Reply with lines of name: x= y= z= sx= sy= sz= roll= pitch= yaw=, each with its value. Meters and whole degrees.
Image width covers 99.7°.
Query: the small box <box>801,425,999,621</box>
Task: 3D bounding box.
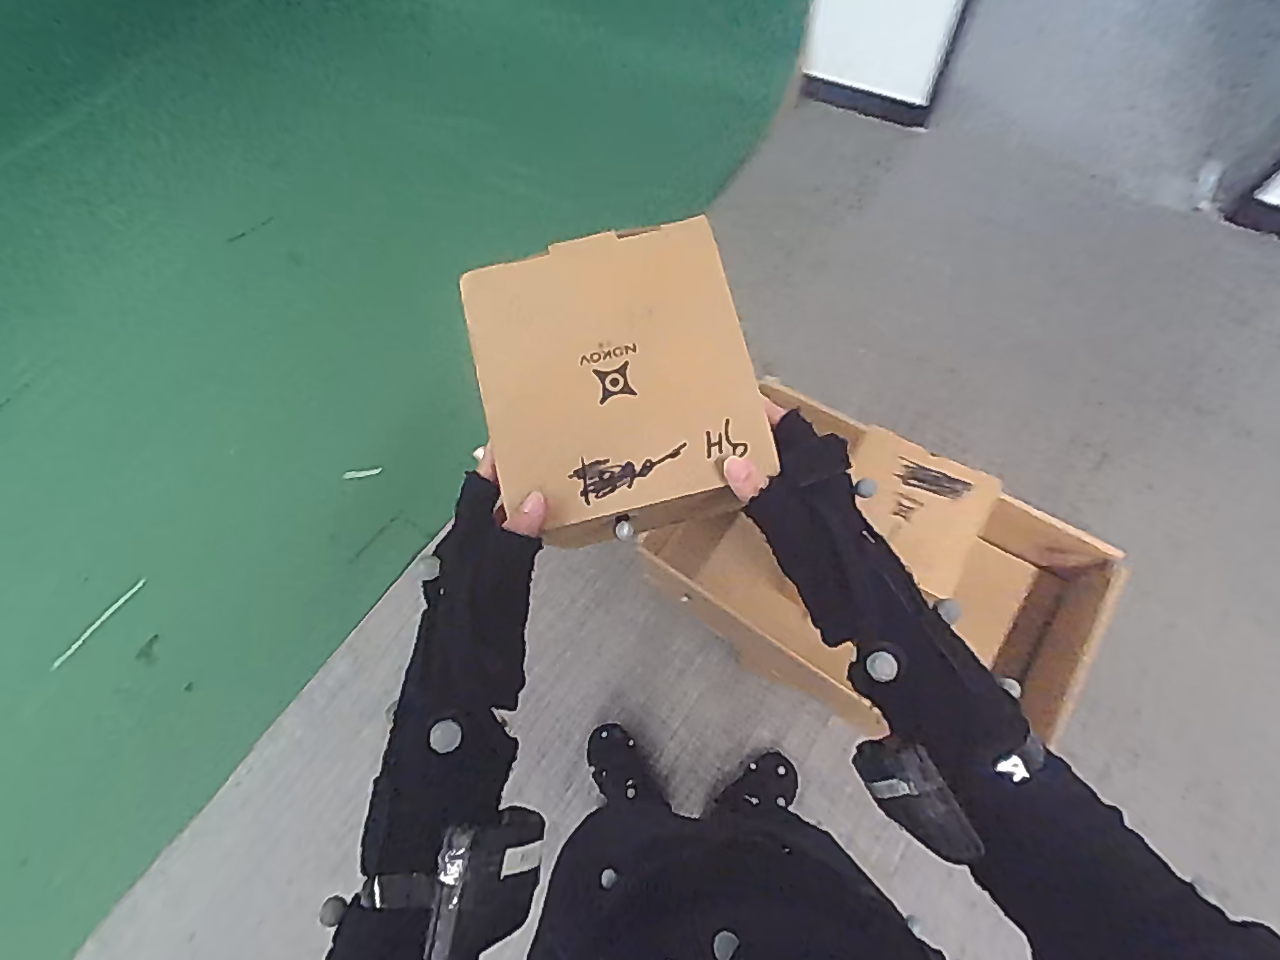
small box: x=0.333 y=0.063 z=0.728 sx=0.168 sy=0.176 sz=0.179 roll=29 pitch=73 yaw=20

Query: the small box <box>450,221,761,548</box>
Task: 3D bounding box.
small box: x=-0.023 y=-0.054 z=0.414 sx=0.168 sy=0.176 sz=0.179 roll=-15 pitch=79 yaw=1

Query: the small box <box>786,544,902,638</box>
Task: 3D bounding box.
small box: x=0.350 y=0.132 z=0.876 sx=0.168 sy=0.176 sz=0.179 roll=27 pitch=72 yaw=19
